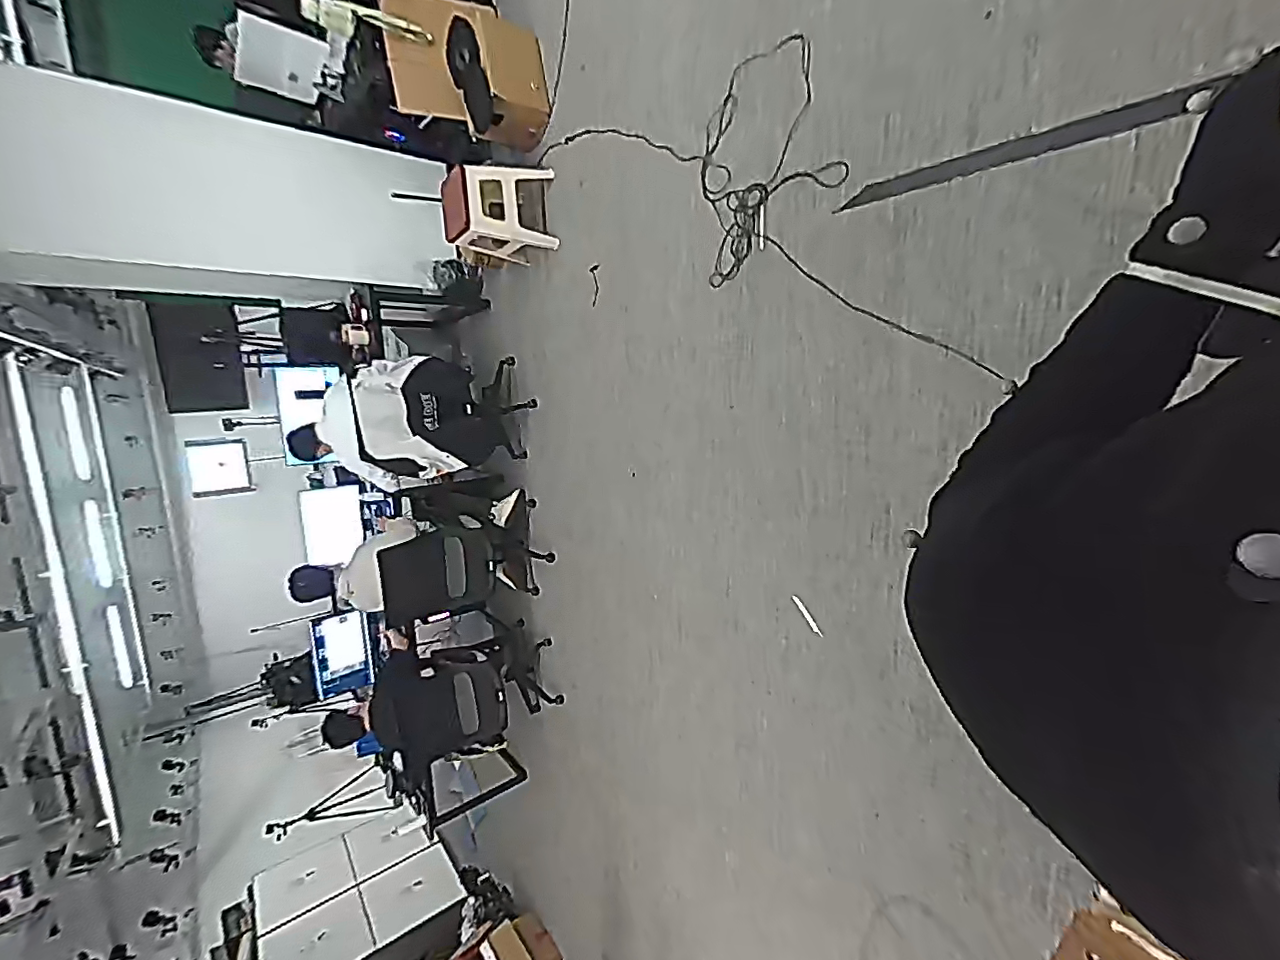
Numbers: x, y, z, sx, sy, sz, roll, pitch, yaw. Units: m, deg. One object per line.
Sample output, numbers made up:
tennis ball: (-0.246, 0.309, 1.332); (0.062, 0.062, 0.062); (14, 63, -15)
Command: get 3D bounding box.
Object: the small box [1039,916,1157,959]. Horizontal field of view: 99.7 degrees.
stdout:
small box: (0.742, 0.843, 0.849); (0.179, 0.176, 0.168); (16, 110, 51)
